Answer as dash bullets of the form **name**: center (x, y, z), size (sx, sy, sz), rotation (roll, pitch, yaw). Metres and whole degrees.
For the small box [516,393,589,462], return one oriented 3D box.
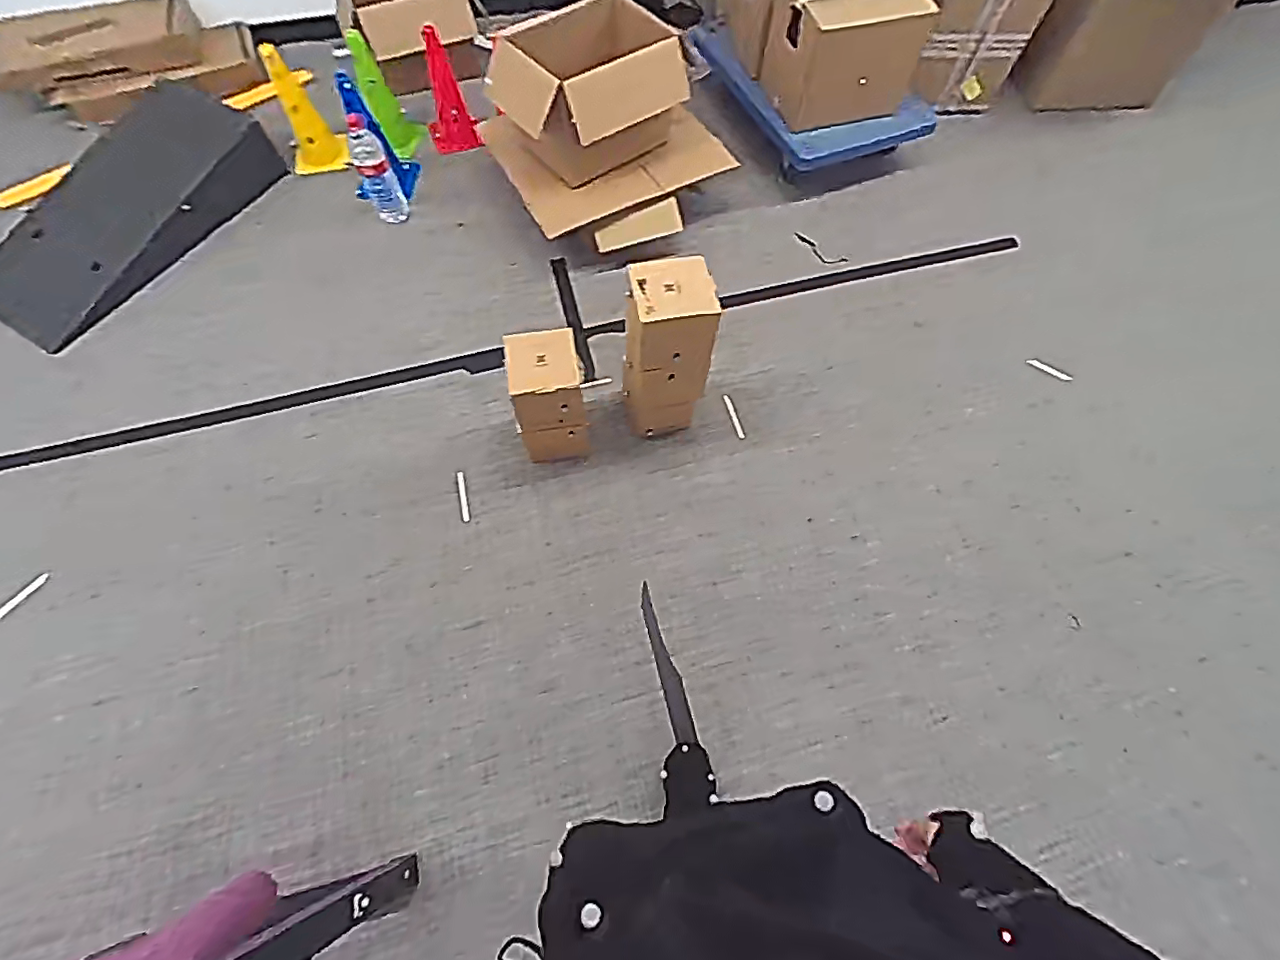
- **small box**: center (-0.238, -0.162, 1.476), size (0.179, 0.176, 0.168), rotation (-8, 65, -6)

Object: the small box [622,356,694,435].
- **small box**: center (0.051, -0.244, 1.521), size (0.168, 0.176, 0.179), rotation (-14, 66, -8)

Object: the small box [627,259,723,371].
- **small box**: center (0.070, -0.366, 1.215), size (0.179, 0.176, 0.168), rotation (-8, 66, -7)

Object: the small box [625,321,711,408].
- **small box**: center (0.064, -0.300, 1.365), size (0.179, 0.176, 0.168), rotation (-12, 66, -8)

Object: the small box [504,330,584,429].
- **small box**: center (-0.232, -0.239, 1.333), size (0.168, 0.176, 0.179), rotation (-9, 64, -8)
